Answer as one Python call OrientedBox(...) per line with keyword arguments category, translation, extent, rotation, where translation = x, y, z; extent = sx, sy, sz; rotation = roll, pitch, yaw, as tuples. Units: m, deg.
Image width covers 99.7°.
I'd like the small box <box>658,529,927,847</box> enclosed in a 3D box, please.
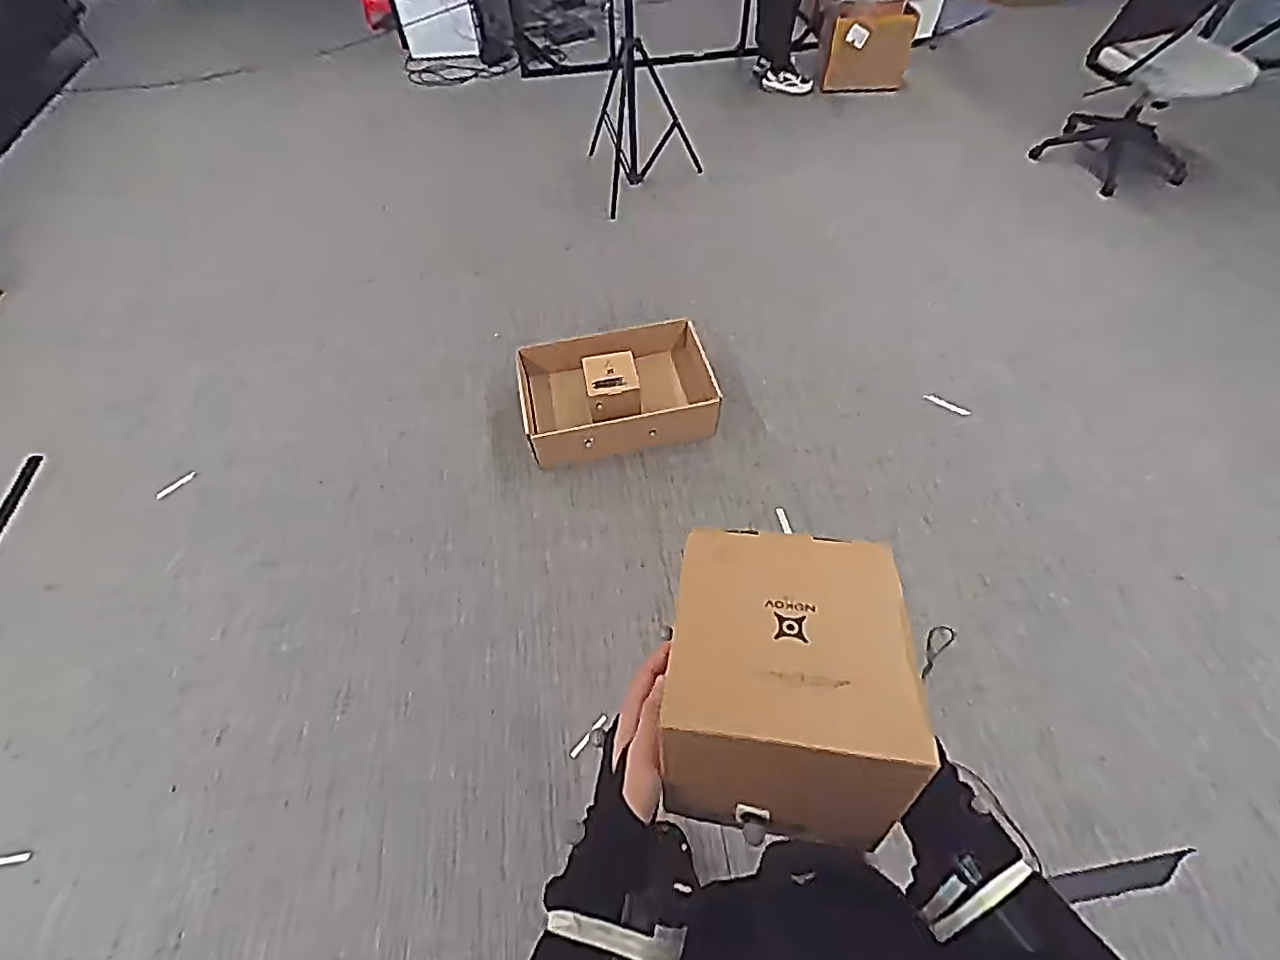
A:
OrientedBox(category="small box", translation=(0.108, 0.166, 0.445), extent=(0.168, 0.176, 0.179), rotation=(4, 42, 9))
